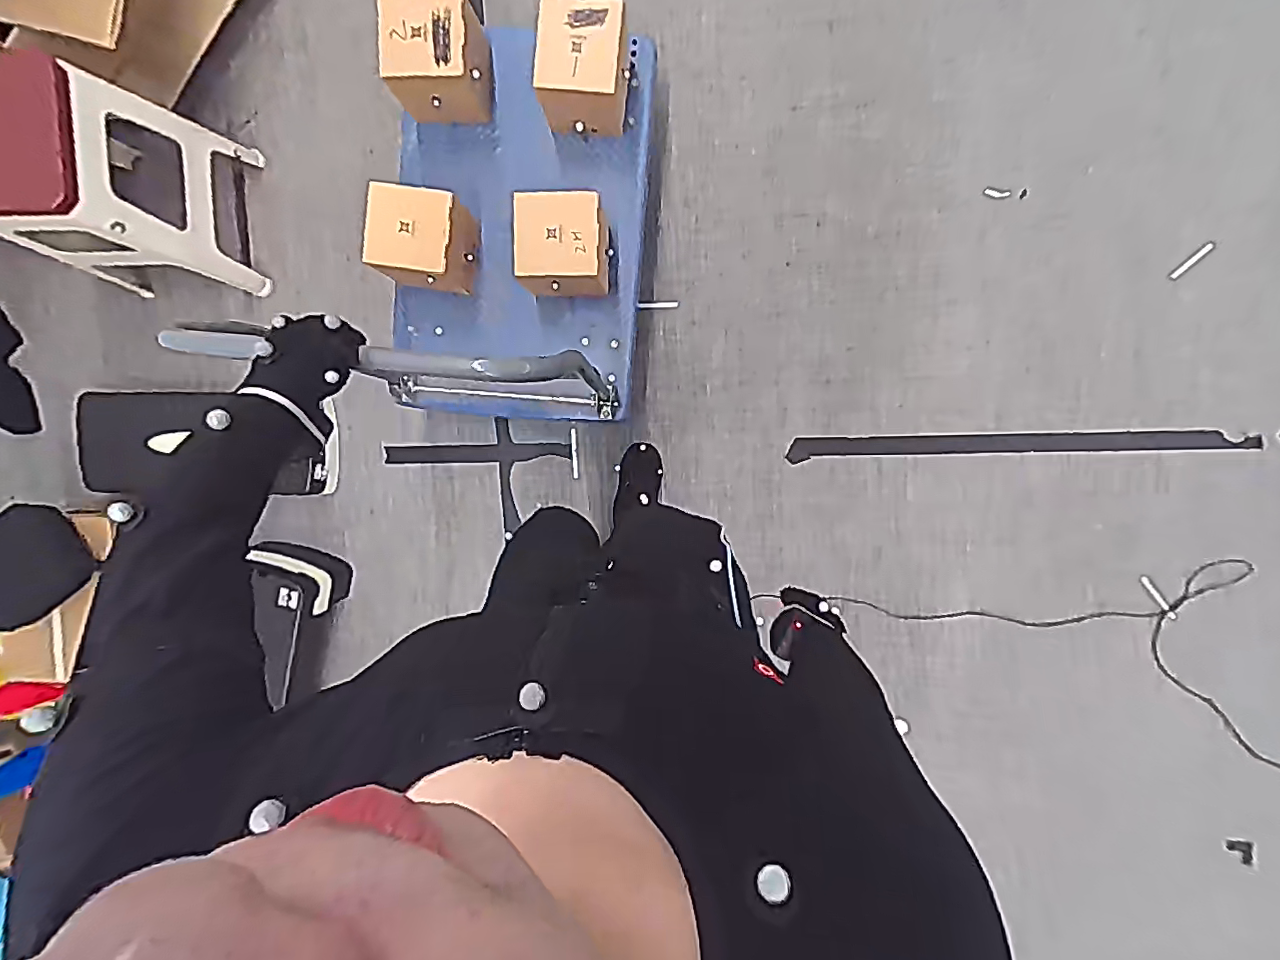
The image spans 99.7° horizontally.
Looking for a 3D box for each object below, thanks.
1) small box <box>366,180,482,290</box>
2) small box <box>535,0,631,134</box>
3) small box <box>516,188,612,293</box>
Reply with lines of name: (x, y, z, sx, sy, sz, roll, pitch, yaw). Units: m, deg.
small box: (-0.467, -0.527, 1.185, 0.179, 0.176, 0.168, 8, 95, 1)
small box: (-0.112, -0.866, 1.130, 0.168, 0.176, 0.179, 7, 97, 3)
small box: (-0.159, -0.508, 1.167, 0.179, 0.176, 0.168, 1, 96, 3)
